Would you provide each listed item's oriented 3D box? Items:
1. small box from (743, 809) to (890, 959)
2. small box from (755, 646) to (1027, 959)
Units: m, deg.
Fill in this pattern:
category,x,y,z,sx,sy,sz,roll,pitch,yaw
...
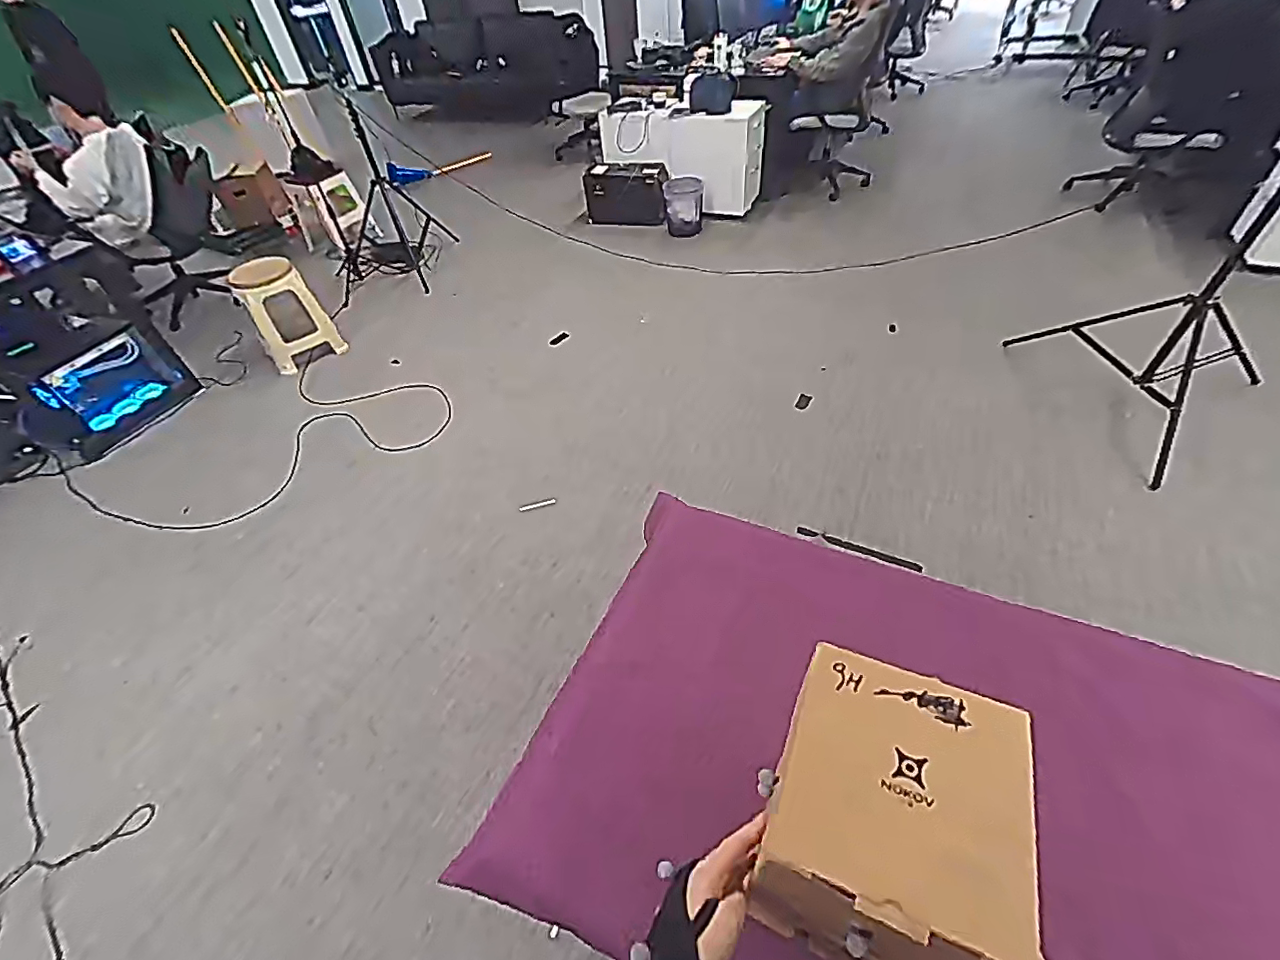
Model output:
category,x,y,z,sx,sy,sz,roll,pitch,yaw
small box,0.214,0.398,0.577,0.168,0.176,0.179,17,49,21
small box,0.202,0.282,0.462,0.168,0.176,0.179,16,50,20
